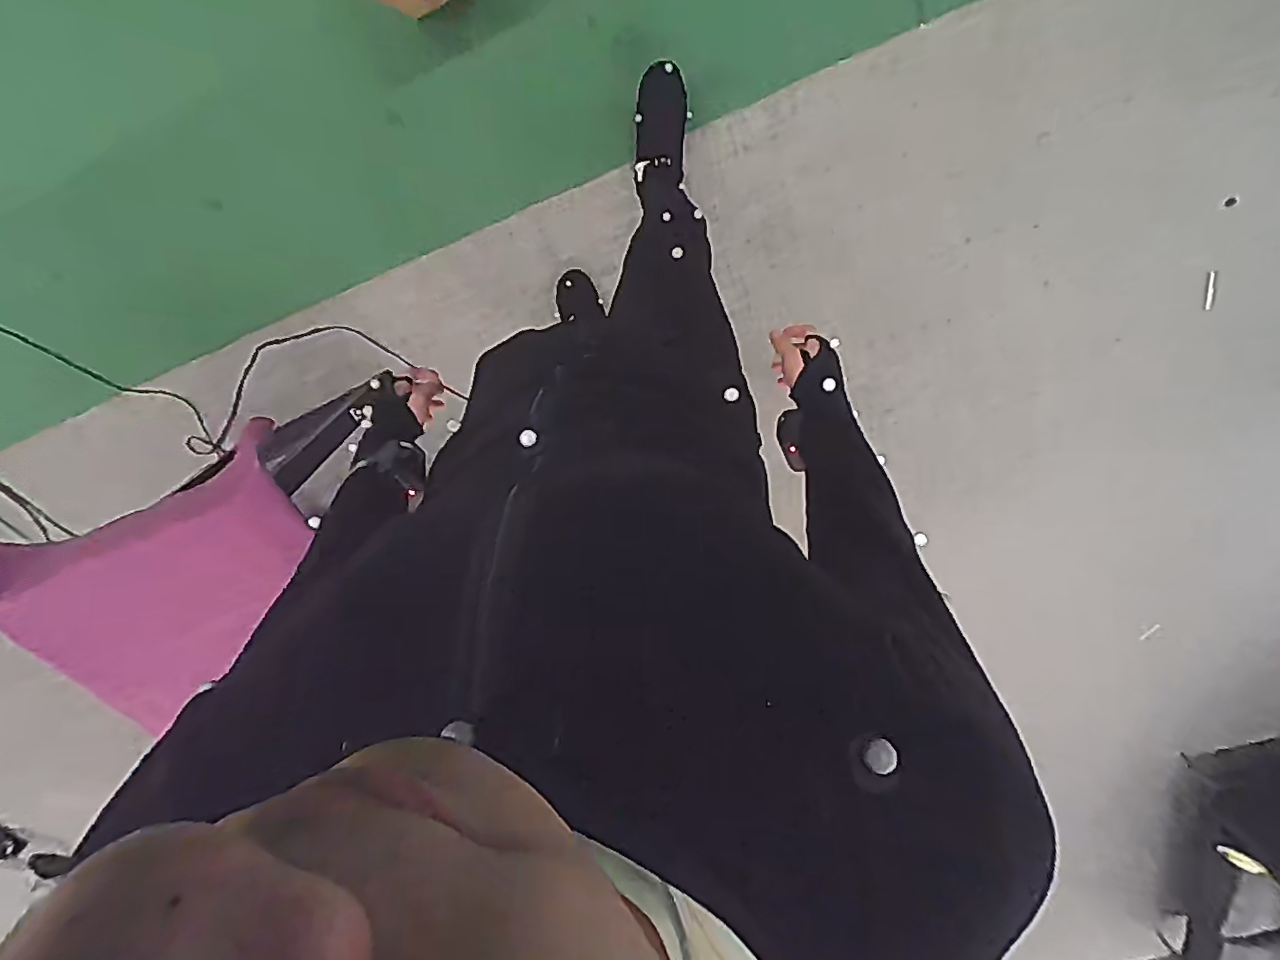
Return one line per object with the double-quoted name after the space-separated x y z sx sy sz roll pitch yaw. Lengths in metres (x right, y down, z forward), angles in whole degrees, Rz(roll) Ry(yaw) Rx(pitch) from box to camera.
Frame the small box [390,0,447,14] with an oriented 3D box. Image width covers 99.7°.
-0.430 -1.036 1.032 0.168 0.176 0.179 -21 118 11 "small box"
